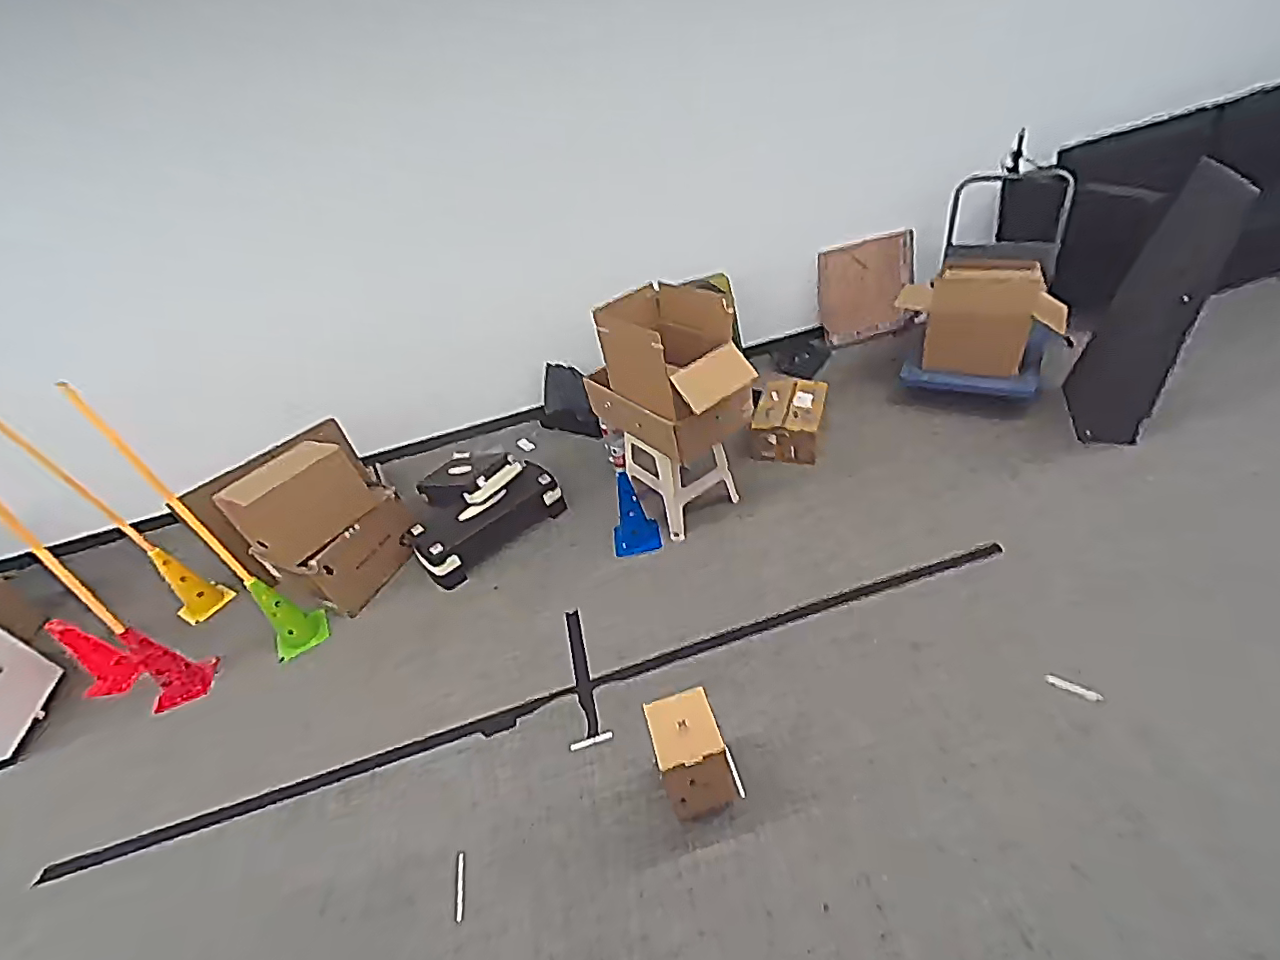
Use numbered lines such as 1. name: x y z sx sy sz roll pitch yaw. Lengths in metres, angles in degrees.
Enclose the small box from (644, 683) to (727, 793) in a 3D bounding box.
1. small box: 0.117 0.668 1.401 0.168 0.176 0.179 -16 38 -6
